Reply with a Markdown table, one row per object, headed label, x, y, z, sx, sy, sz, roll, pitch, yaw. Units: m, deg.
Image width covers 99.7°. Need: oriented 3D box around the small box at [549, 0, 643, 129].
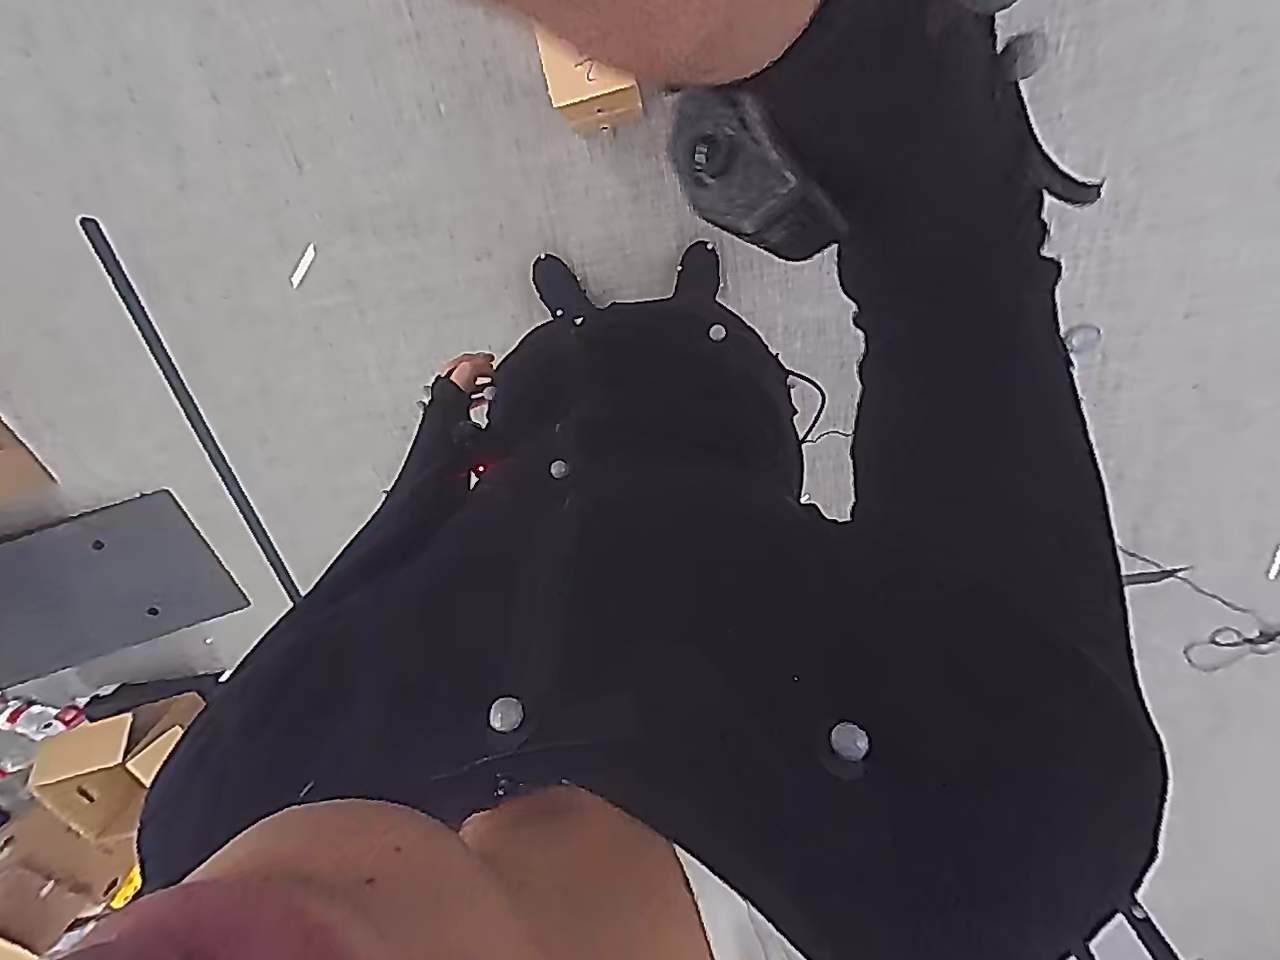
| label | x | y | z | sx | sy | sz | roll | pitch | yaw |
| --- | --- | --- | --- | --- | --- | --- | --- | --- | --- |
| small box | -0.090 | -0.911 | 1.200 | 0.168 | 0.176 | 0.179 | -10 | 114 | 8 |
